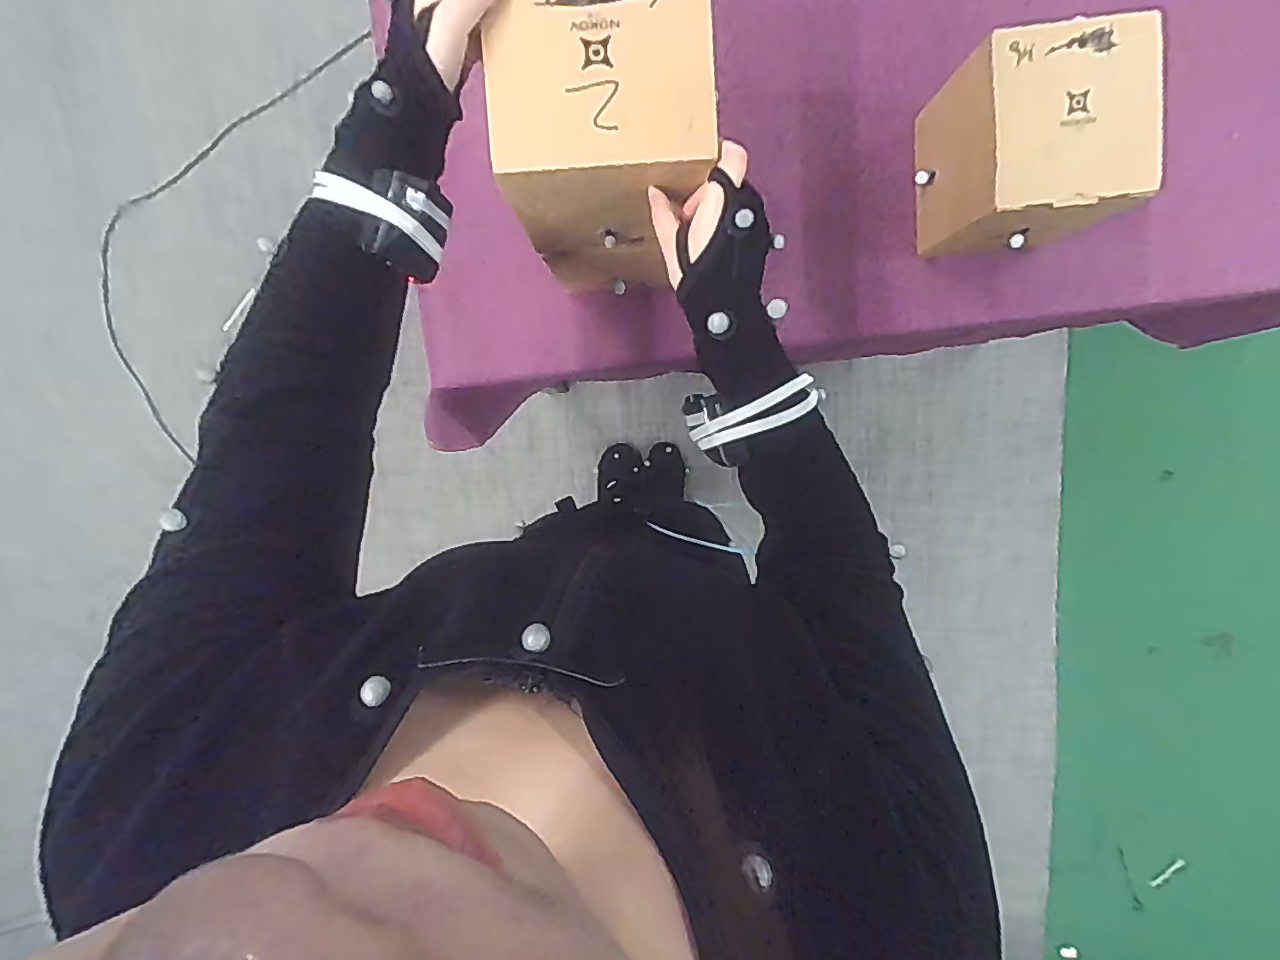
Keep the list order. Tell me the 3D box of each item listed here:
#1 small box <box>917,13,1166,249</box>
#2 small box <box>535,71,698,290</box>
[{"bbox_3d":[0.442,-0.378,0.624,0.168,0.176,0.179,-5,98,2],"label":"small box"},{"bbox_3d":[-0.023,-0.337,0.641,0.168,0.176,0.179,-3,98,2],"label":"small box"}]
